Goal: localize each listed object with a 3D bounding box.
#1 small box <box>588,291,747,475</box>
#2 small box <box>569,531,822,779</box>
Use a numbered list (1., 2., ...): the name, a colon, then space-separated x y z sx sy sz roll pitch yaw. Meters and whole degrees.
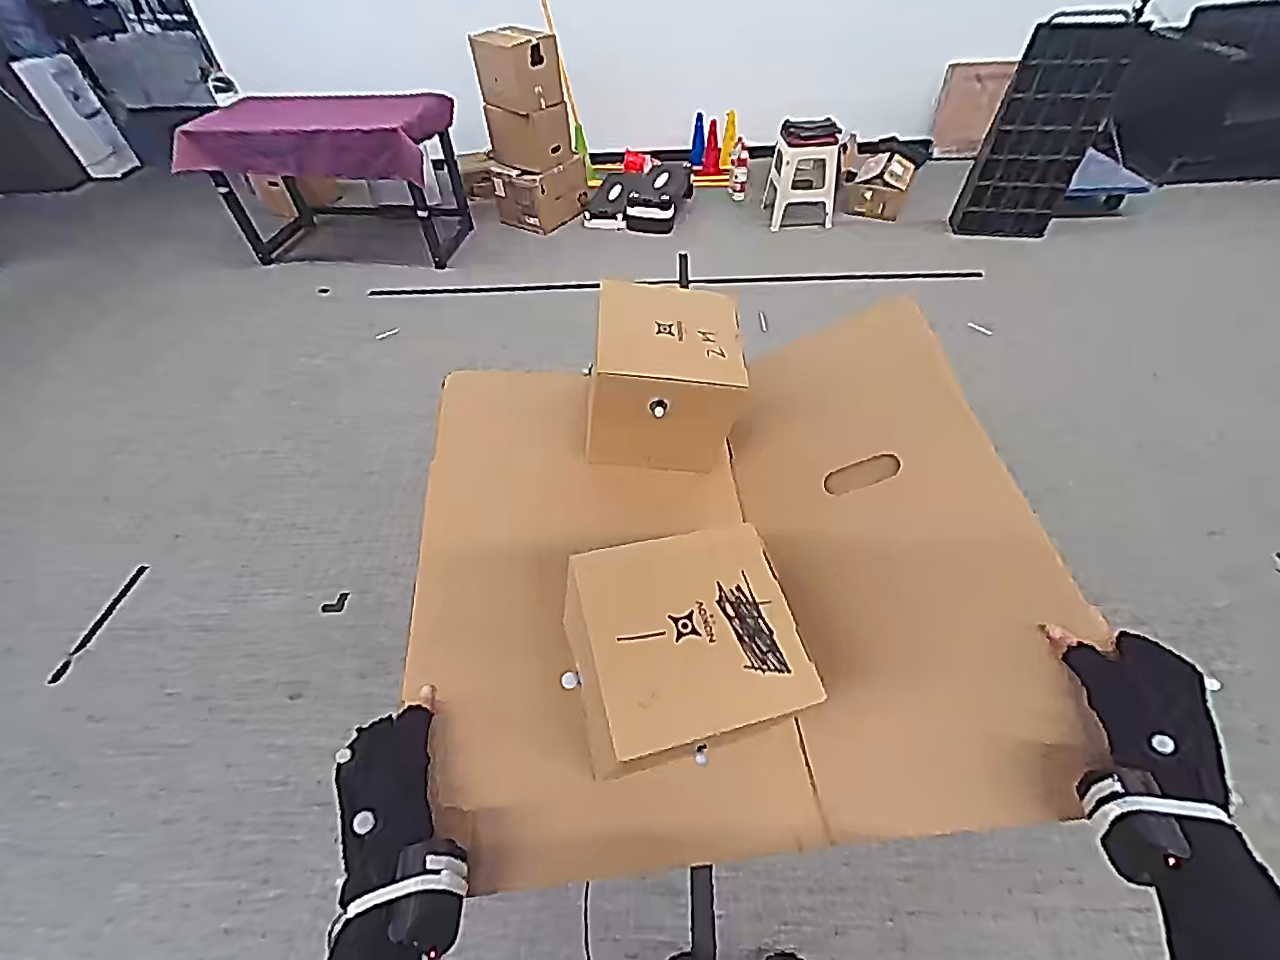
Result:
1. small box: 0.026 -0.122 0.716 0.179 0.176 0.168 5 55 -8
2. small box: 0.034 0.170 0.518 0.179 0.176 0.168 -9 58 -15
